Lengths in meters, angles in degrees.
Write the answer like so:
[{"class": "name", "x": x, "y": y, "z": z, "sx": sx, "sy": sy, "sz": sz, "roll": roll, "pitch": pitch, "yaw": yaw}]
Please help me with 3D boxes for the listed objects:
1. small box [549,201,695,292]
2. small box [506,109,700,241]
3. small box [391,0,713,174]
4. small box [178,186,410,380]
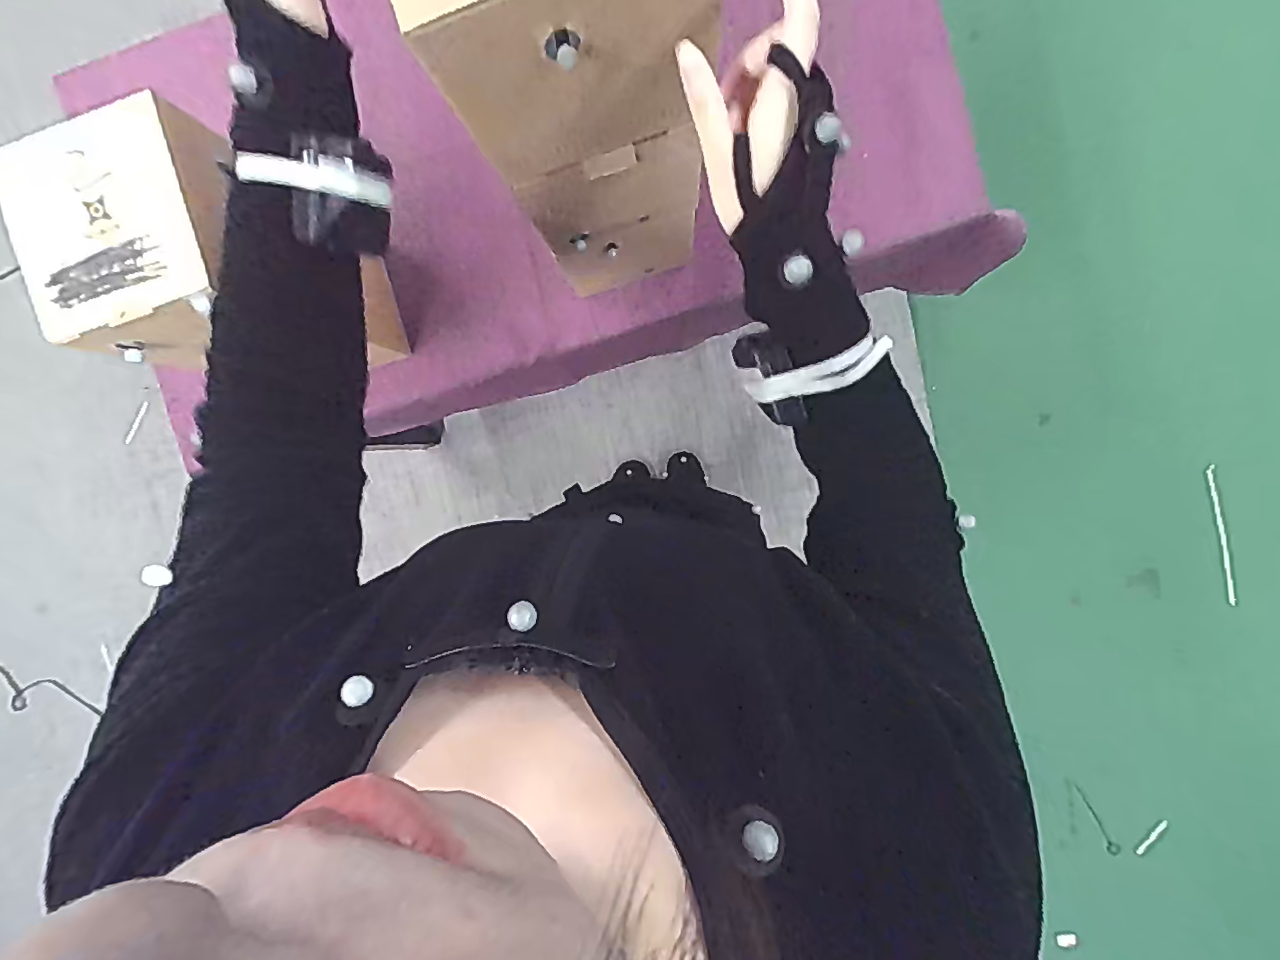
[{"class": "small box", "x": -0.034, "y": -0.360, "z": 0.671, "sx": 0.168, "sy": 0.176, "sz": 0.179, "roll": -16, "pitch": 93, "yaw": 7}, {"class": "small box", "x": -0.045, "y": -0.348, "z": 0.507, "sx": 0.168, "sy": 0.176, "sz": 0.179, "roll": -16, "pitch": 93, "yaw": 5}, {"class": "small box", "x": -0.053, "y": -0.331, "z": 0.343, "sx": 0.179, "sy": 0.176, "sz": 0.168, "roll": -16, "pitch": 94, "yaw": 5}, {"class": "small box", "x": -0.436, "y": -0.242, "z": 0.710, "sx": 0.168, "sy": 0.176, "sz": 0.179, "roll": -15, "pitch": 94, "yaw": 6}]
